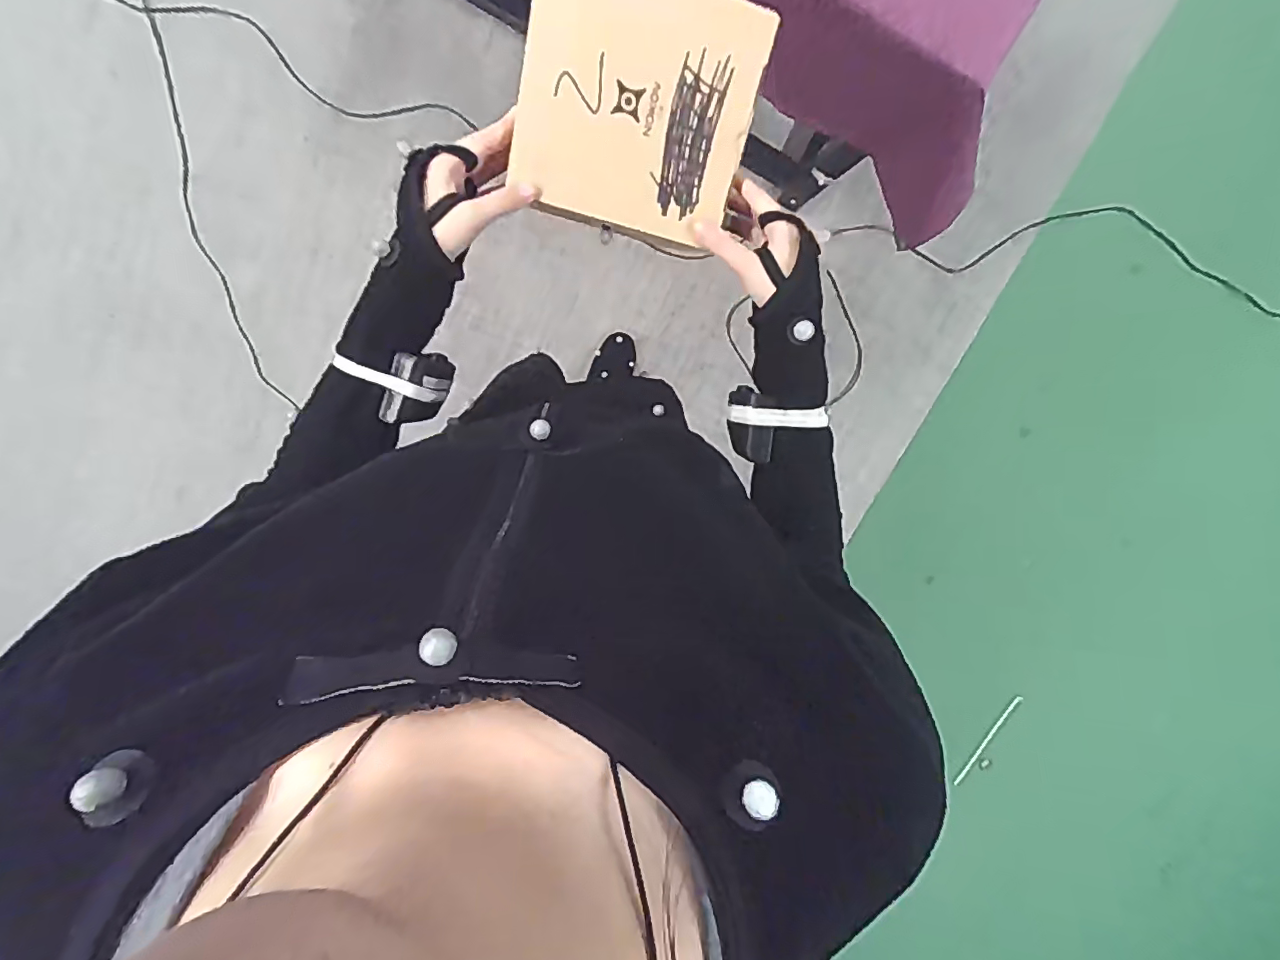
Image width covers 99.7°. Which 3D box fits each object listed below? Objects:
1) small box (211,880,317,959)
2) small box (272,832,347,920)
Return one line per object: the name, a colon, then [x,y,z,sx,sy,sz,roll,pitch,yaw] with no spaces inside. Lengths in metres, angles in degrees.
small box: [-1.073,1.301,1.547,0.179,0.176,0.168,34,100,-11]
small box: [-1.069,1.272,1.710,0.168,0.176,0.179,35,99,-10]
